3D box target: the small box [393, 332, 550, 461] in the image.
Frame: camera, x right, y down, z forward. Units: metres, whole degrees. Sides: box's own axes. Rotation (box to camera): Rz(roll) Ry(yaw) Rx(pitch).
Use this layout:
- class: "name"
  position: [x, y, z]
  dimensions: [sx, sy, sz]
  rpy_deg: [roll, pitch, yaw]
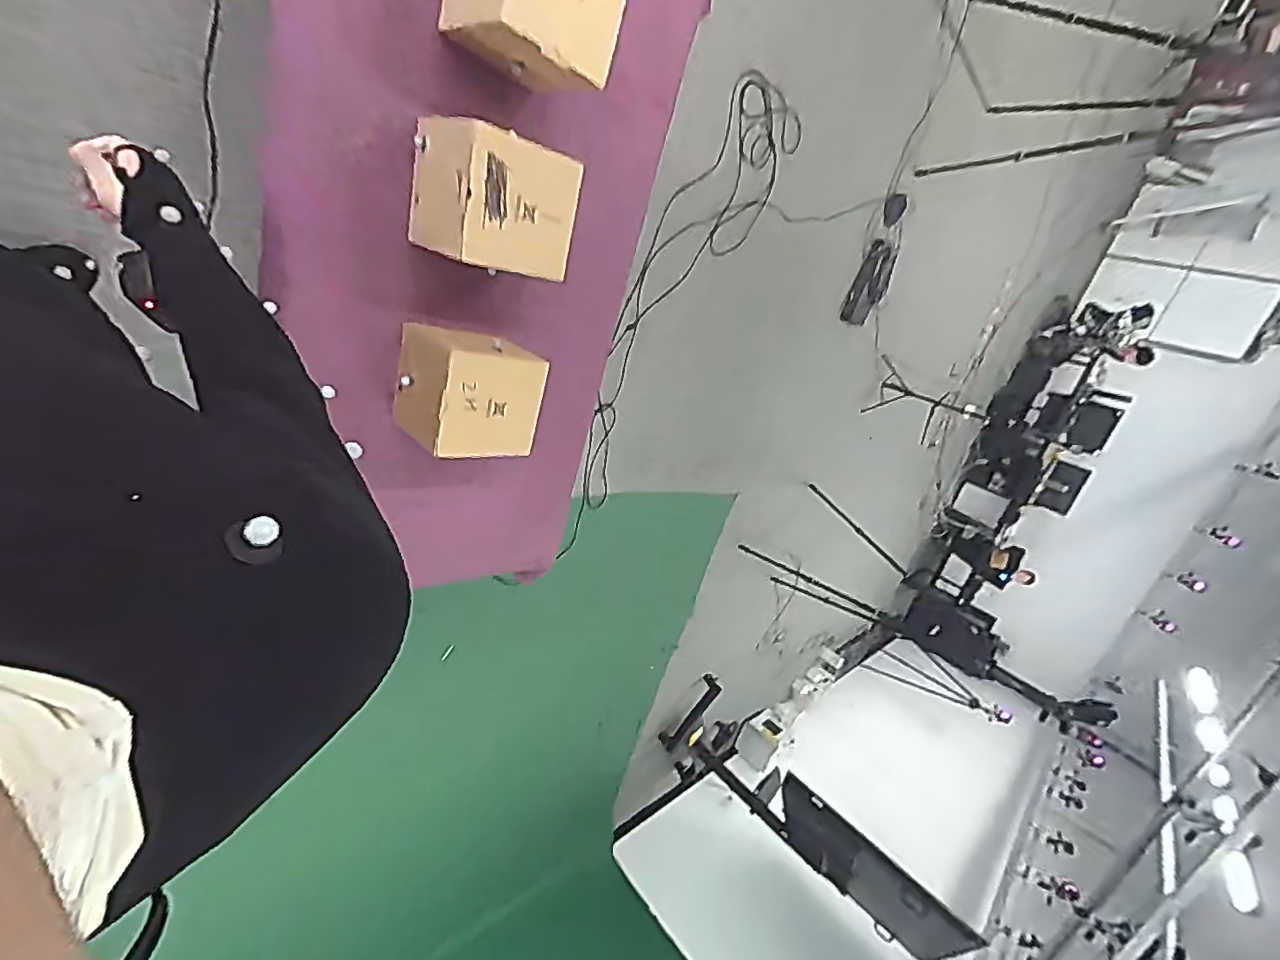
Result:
- class: "small box"
  position: [-0.284, -0.140, 0.905]
  dimensions: [0.179, 0.176, 0.168]
  rpy_deg: [-4, 117, -47]

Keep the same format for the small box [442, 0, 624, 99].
- class: "small box"
  position: [-0.142, -0.643, 0.719]
  dimensions: [0.168, 0.176, 0.179]
  rpy_deg: [-2, 117, -48]

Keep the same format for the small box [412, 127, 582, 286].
- class: "small box"
  position: [-0.217, -0.400, 0.802]
  dimensions: [0.179, 0.176, 0.168]
  rpy_deg: [-9, 121, -46]
